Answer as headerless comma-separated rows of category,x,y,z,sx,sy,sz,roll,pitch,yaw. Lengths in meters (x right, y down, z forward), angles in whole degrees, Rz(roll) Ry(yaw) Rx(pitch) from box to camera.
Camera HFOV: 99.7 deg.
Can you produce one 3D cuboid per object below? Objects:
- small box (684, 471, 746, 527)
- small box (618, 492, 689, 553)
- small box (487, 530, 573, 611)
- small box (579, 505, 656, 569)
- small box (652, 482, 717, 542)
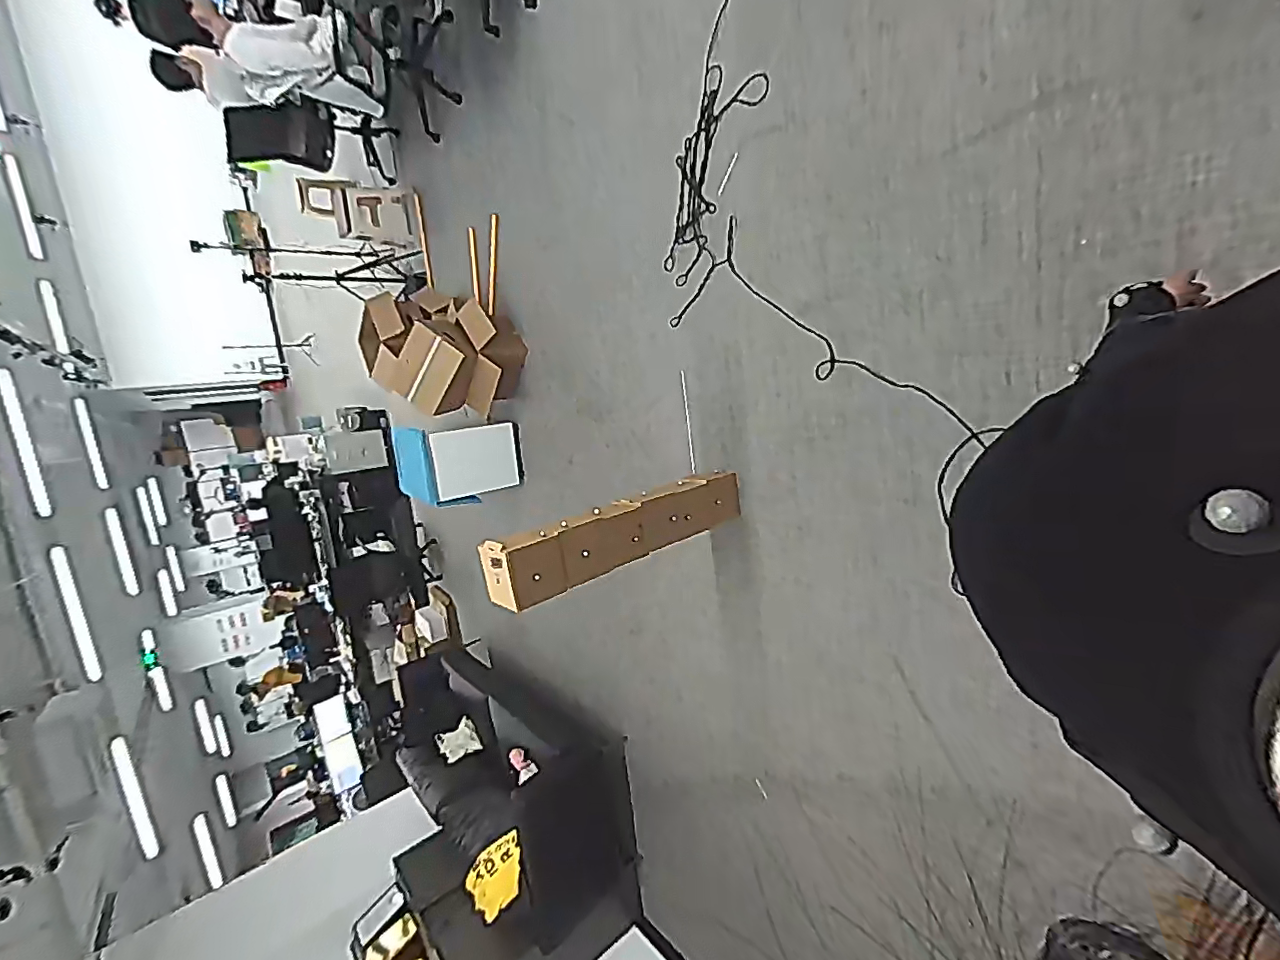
small box,0.292,0.069,2.078,0.168,0.176,0.179,3,104,51
small box,0.049,0.141,1.871,0.168,0.176,0.179,0,101,51
small box,-0.314,0.251,1.559,0.168,0.176,0.179,3,106,50
small box,-0.073,0.179,1.770,0.179,0.176,0.168,0,102,50
small box,0.166,0.112,1.981,0.168,0.176,0.179,3,104,50
